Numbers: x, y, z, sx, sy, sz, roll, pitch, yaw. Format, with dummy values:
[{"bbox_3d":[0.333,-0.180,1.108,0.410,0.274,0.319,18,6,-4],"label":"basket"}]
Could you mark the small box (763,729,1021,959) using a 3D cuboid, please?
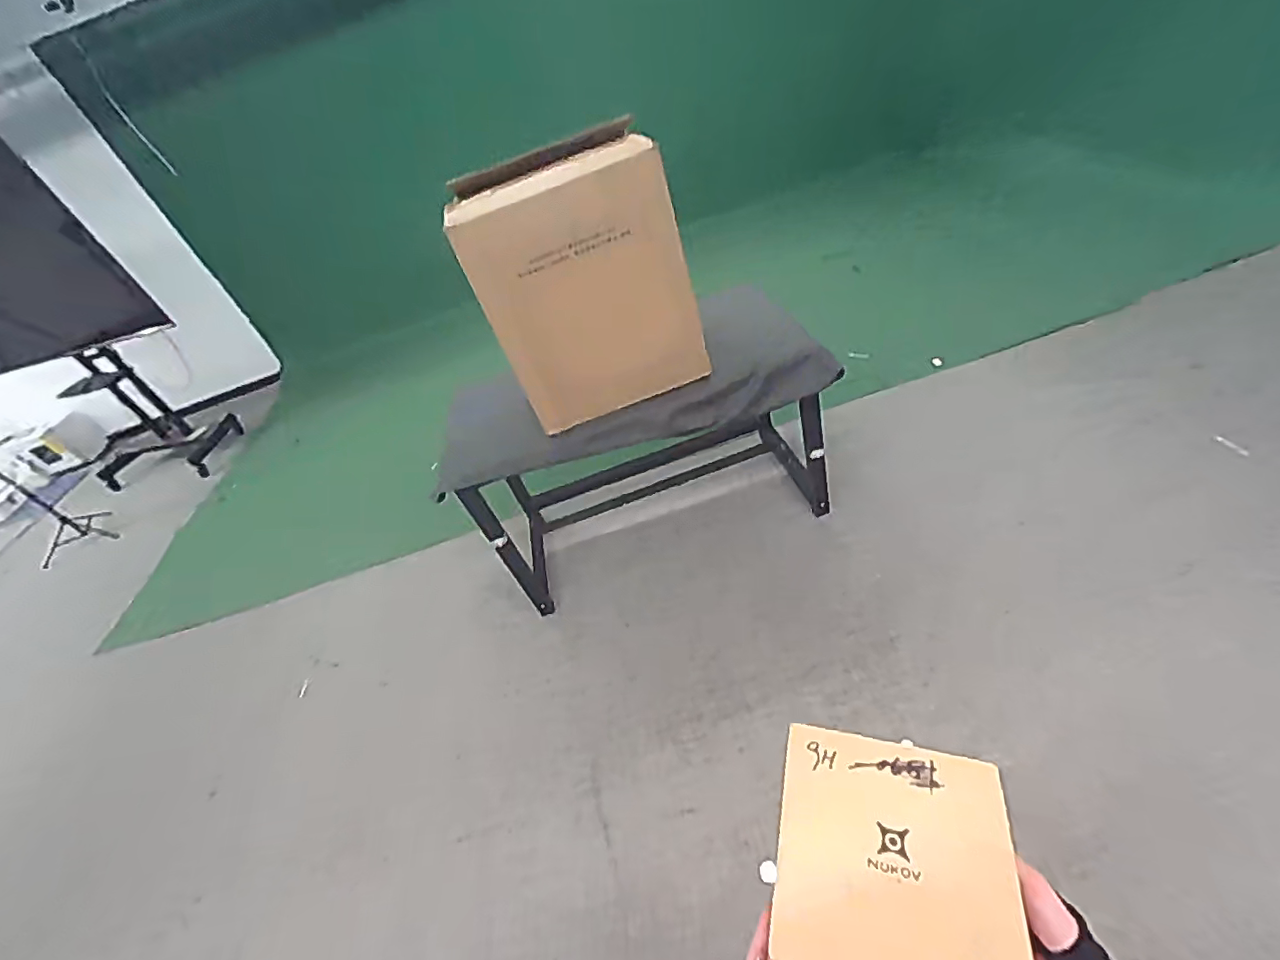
[{"bbox_3d":[0.200,0.349,0.459,0.168,0.176,0.179,4,41,18],"label":"small box"}]
